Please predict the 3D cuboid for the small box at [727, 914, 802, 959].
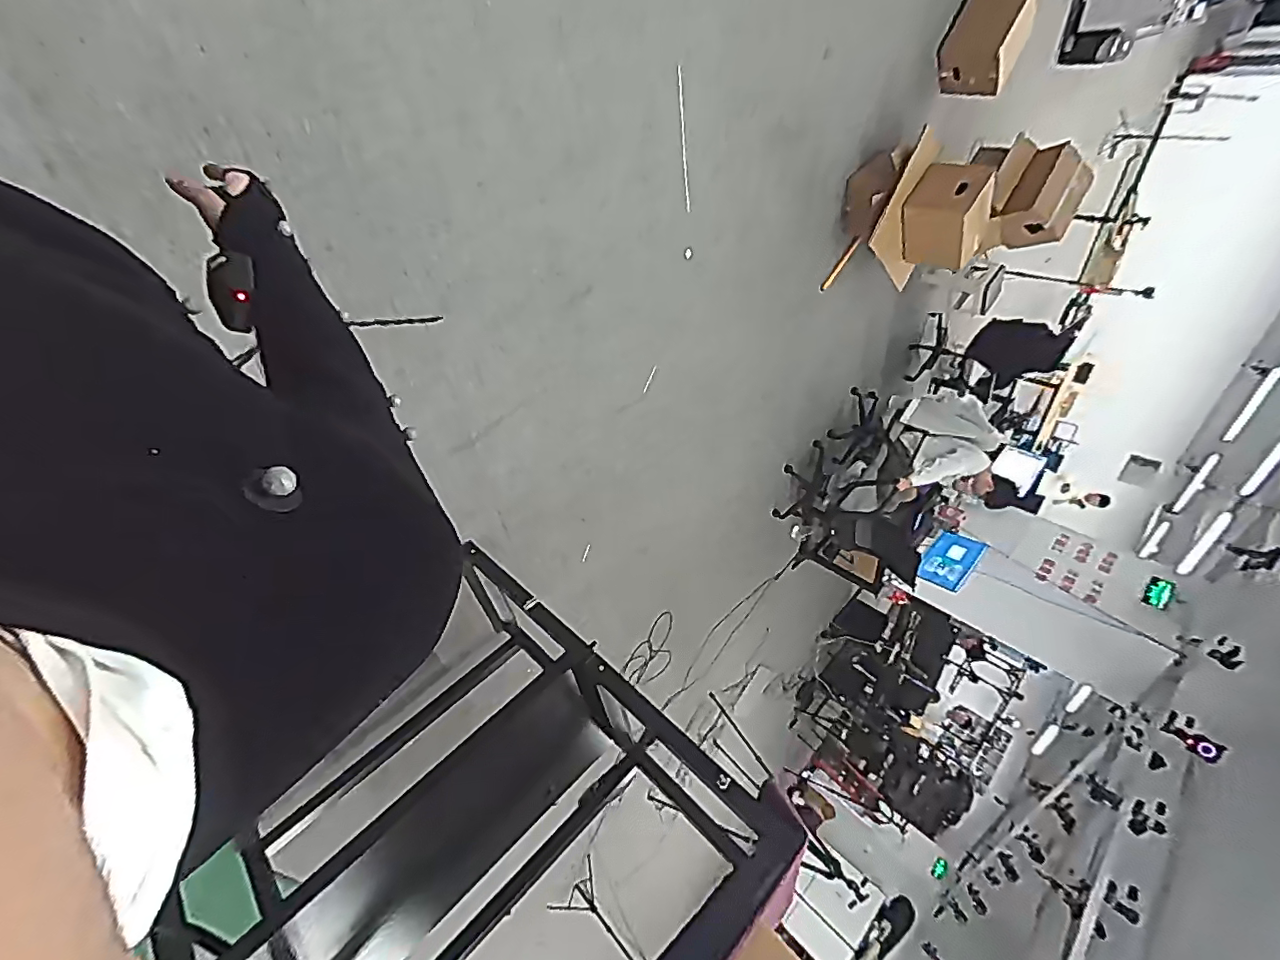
[{"bbox_3d":[0.265,1.098,1.162,0.179,0.176,0.168,-37,139,-29],"label":"small box"}]
